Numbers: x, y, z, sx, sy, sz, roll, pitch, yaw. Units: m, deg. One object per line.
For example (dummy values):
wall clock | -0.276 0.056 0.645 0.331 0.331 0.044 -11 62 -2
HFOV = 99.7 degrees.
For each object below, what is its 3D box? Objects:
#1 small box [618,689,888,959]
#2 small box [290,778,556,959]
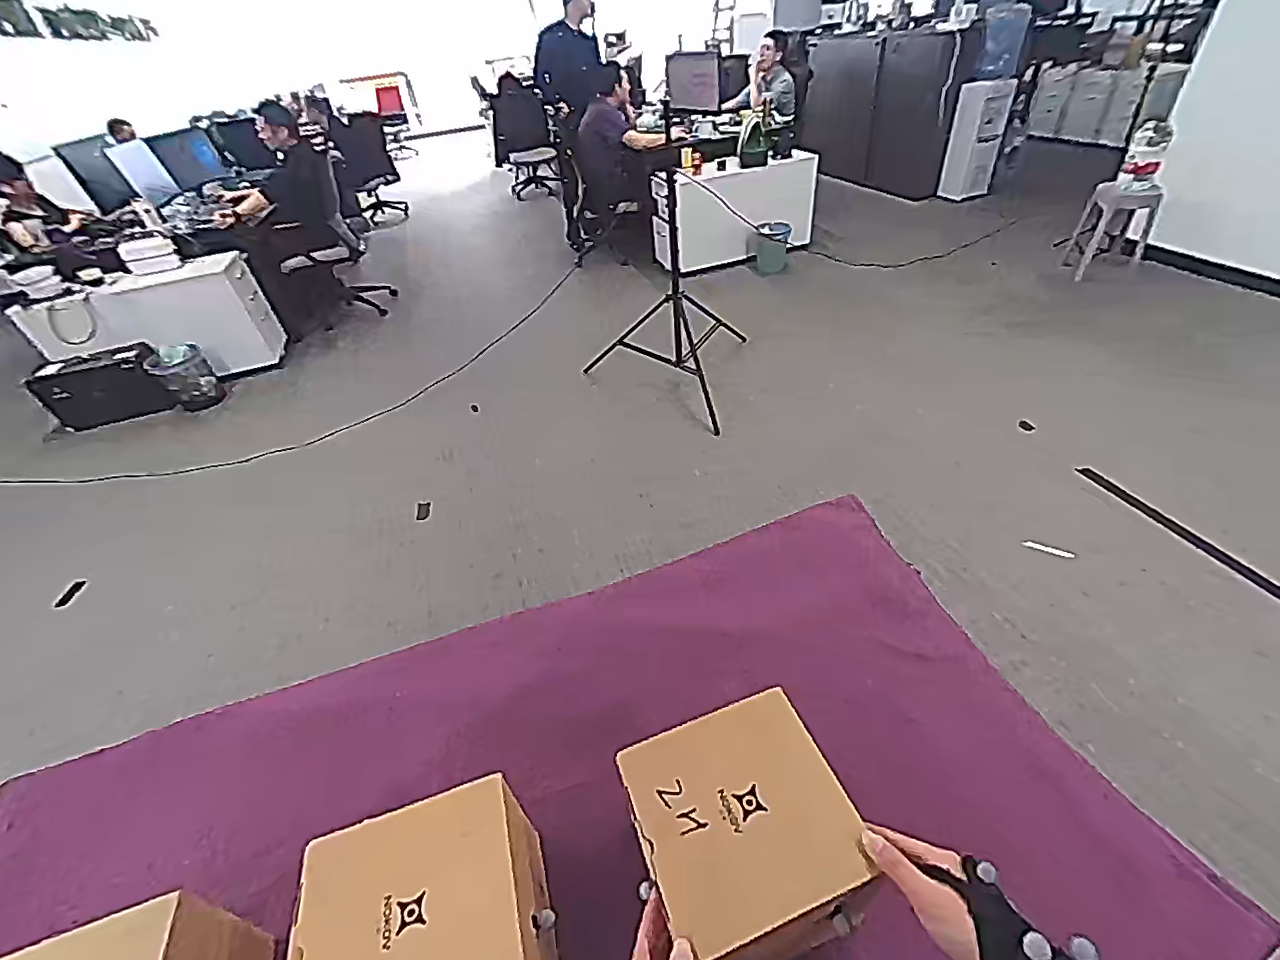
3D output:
small box | 0.093 0.336 0.506 0.179 0.176 0.168 -17 40 -11
small box | -0.176 0.404 0.476 0.179 0.176 0.168 -17 41 -10
